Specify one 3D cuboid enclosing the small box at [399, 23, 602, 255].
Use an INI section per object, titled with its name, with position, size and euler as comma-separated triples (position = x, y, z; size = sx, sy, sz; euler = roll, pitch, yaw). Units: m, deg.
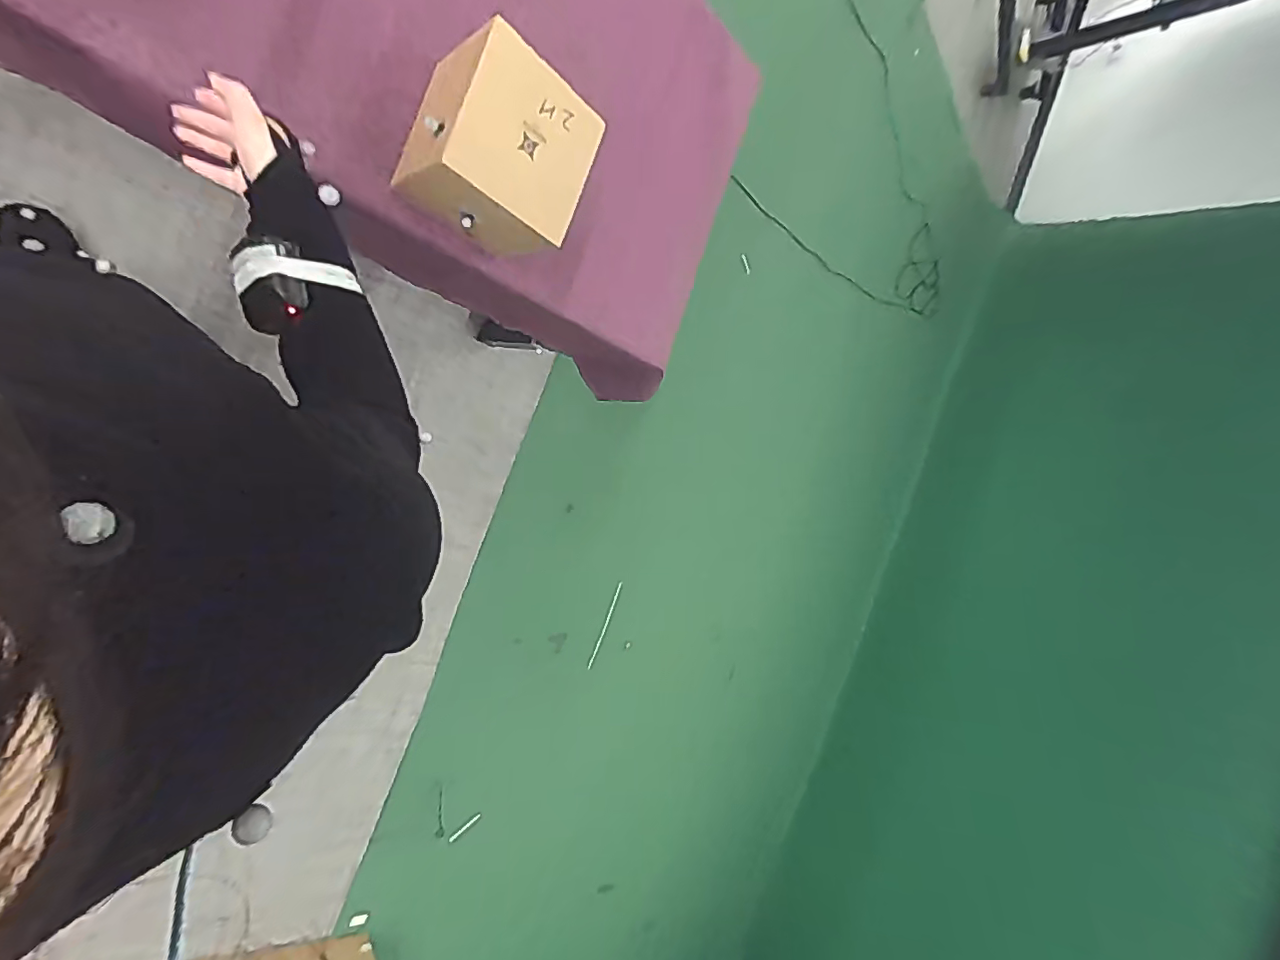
[small box]
position = -0.185, -0.411, 0.694
size = 0.168, 0.176, 0.179
euler = 23, 87, -45
